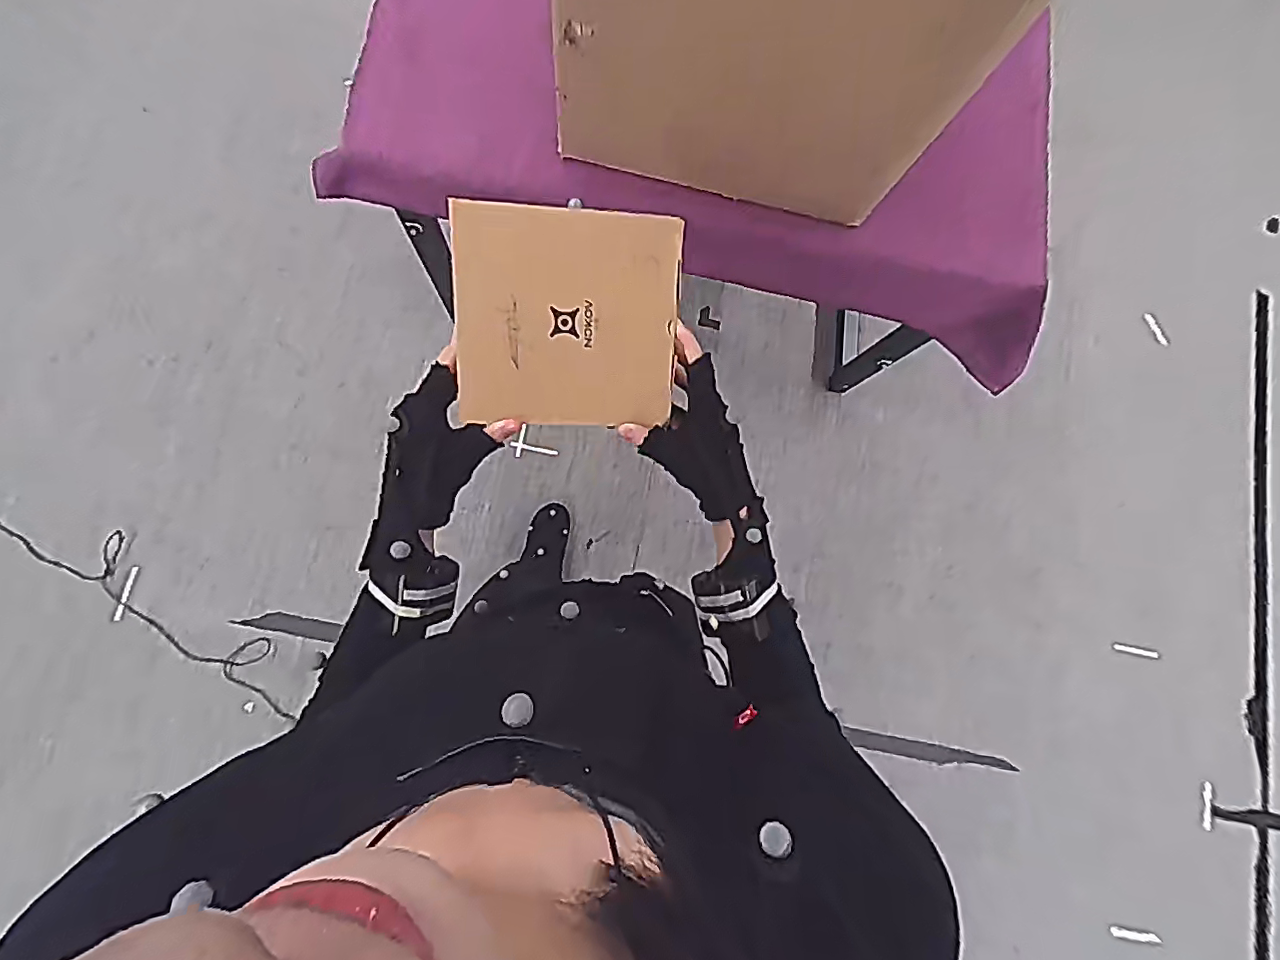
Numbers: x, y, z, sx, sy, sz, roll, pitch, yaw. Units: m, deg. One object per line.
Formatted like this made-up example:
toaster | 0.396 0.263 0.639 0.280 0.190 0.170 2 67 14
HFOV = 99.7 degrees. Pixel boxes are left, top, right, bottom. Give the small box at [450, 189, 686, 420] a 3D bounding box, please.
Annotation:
small box | -0.065 -0.149 0.492 0.179 0.176 0.168 -1 105 -8
